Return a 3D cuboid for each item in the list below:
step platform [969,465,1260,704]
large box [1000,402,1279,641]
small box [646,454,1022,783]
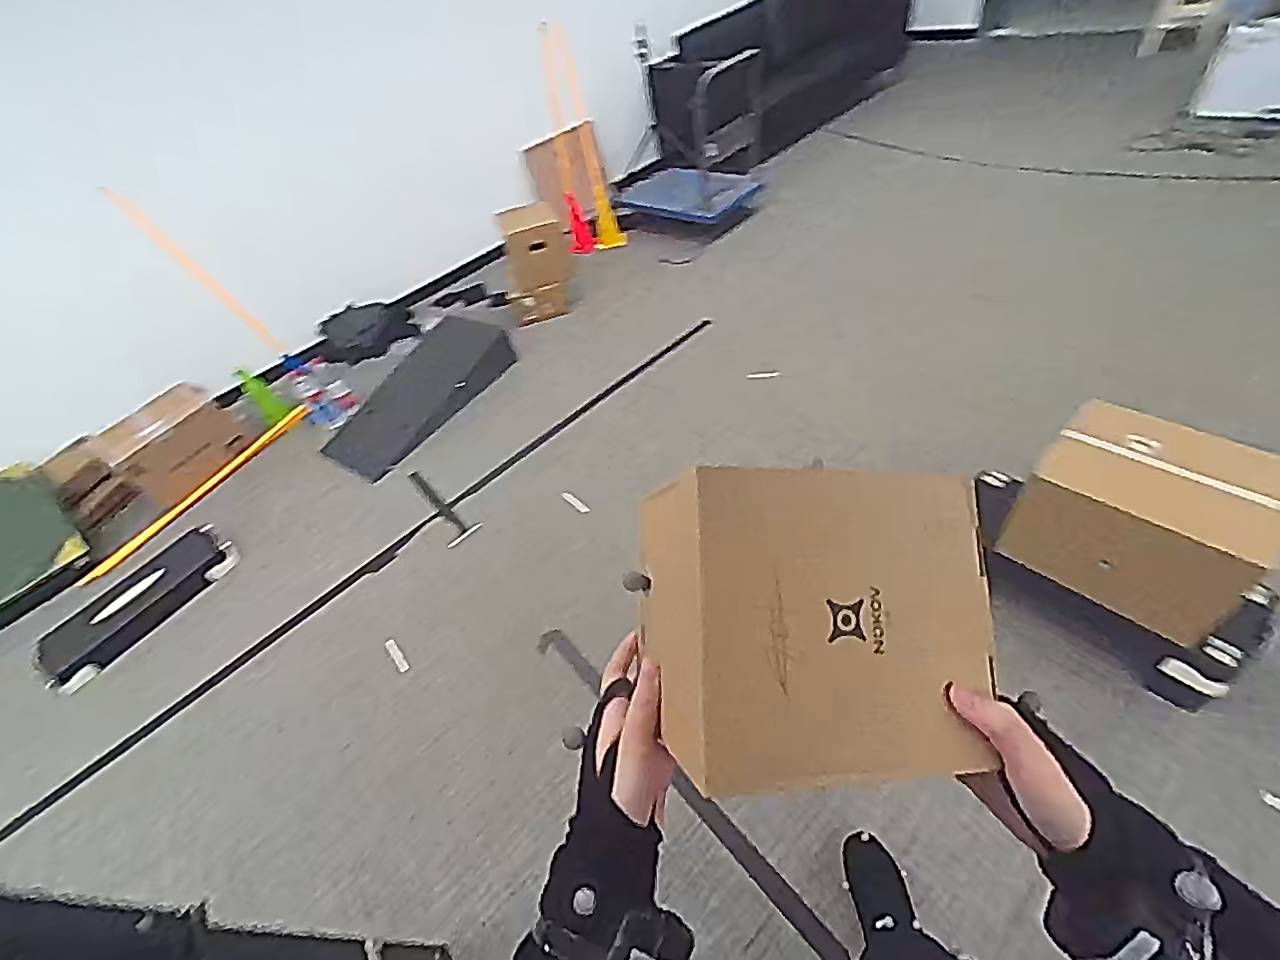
[{"bbox_3d":[1.126,0.231,1.432,0.286,0.204,0.684,-35,47,-17],"label":"step platform"},{"bbox_3d":[1.125,0.083,1.237,0.320,0.320,0.408,-39,48,-21],"label":"large box"},{"bbox_3d":[0.108,0.084,0.367,0.179,0.176,0.168,3,79,-10],"label":"small box"}]
